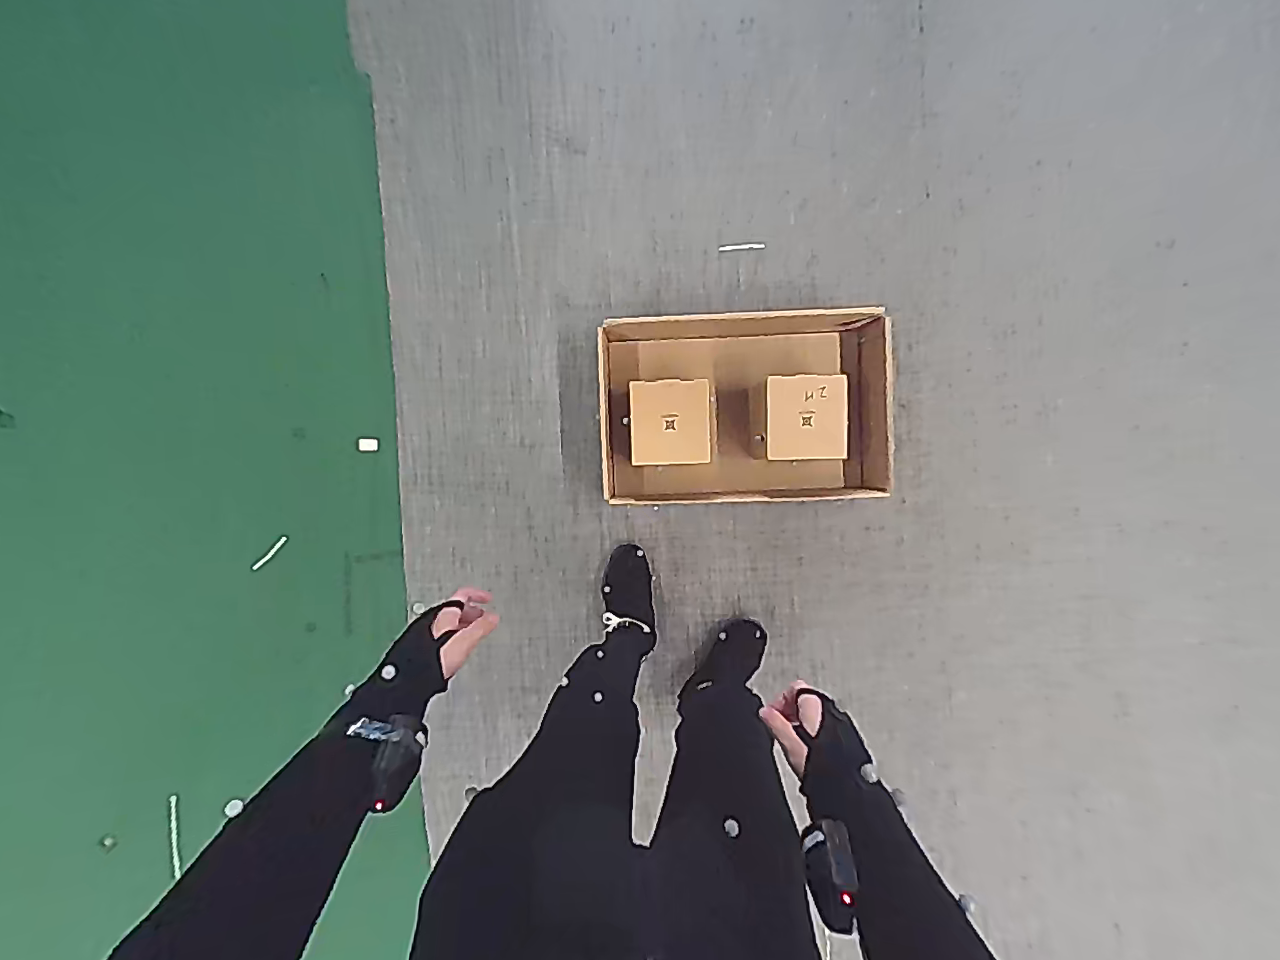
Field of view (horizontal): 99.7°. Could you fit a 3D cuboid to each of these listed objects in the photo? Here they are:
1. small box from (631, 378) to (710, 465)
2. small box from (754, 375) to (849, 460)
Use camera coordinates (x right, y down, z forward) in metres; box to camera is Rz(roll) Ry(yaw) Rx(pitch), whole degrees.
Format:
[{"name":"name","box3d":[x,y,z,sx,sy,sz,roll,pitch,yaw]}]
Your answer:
[{"name":"small box","box3d":[0.066,-0.123,1.195,0.168,0.176,0.179,-2,90,1]},{"name":"small box","box3d":[0.348,-0.132,1.187,0.168,0.176,0.179,0,92,1]}]
